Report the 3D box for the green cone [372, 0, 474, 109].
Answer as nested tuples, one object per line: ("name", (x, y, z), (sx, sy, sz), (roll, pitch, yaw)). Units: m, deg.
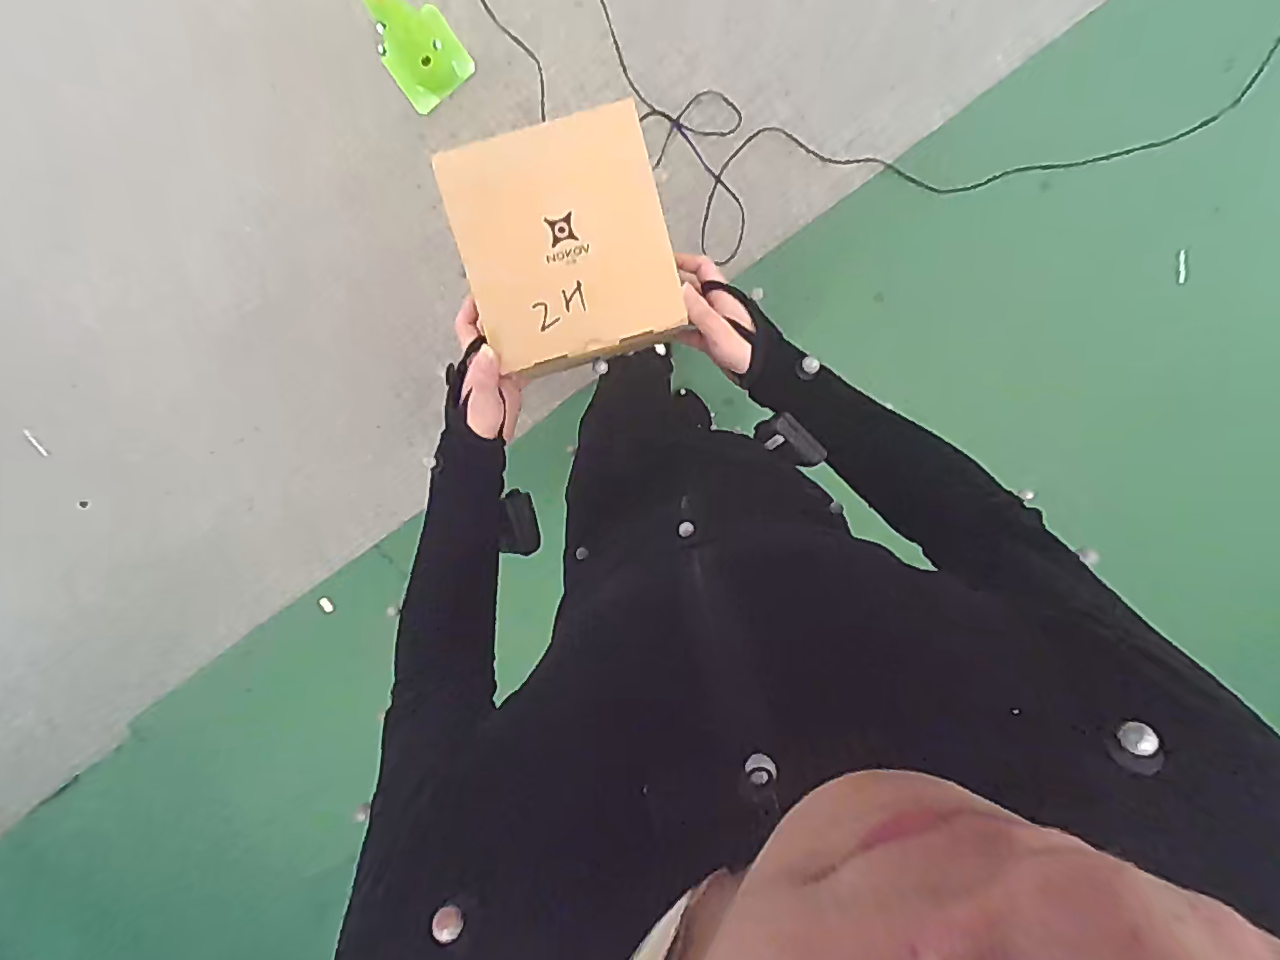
("green cone", (-0.575, -1.100, 1.276), (0.202, 0.368, 0.200), (-35, 98, 7))
